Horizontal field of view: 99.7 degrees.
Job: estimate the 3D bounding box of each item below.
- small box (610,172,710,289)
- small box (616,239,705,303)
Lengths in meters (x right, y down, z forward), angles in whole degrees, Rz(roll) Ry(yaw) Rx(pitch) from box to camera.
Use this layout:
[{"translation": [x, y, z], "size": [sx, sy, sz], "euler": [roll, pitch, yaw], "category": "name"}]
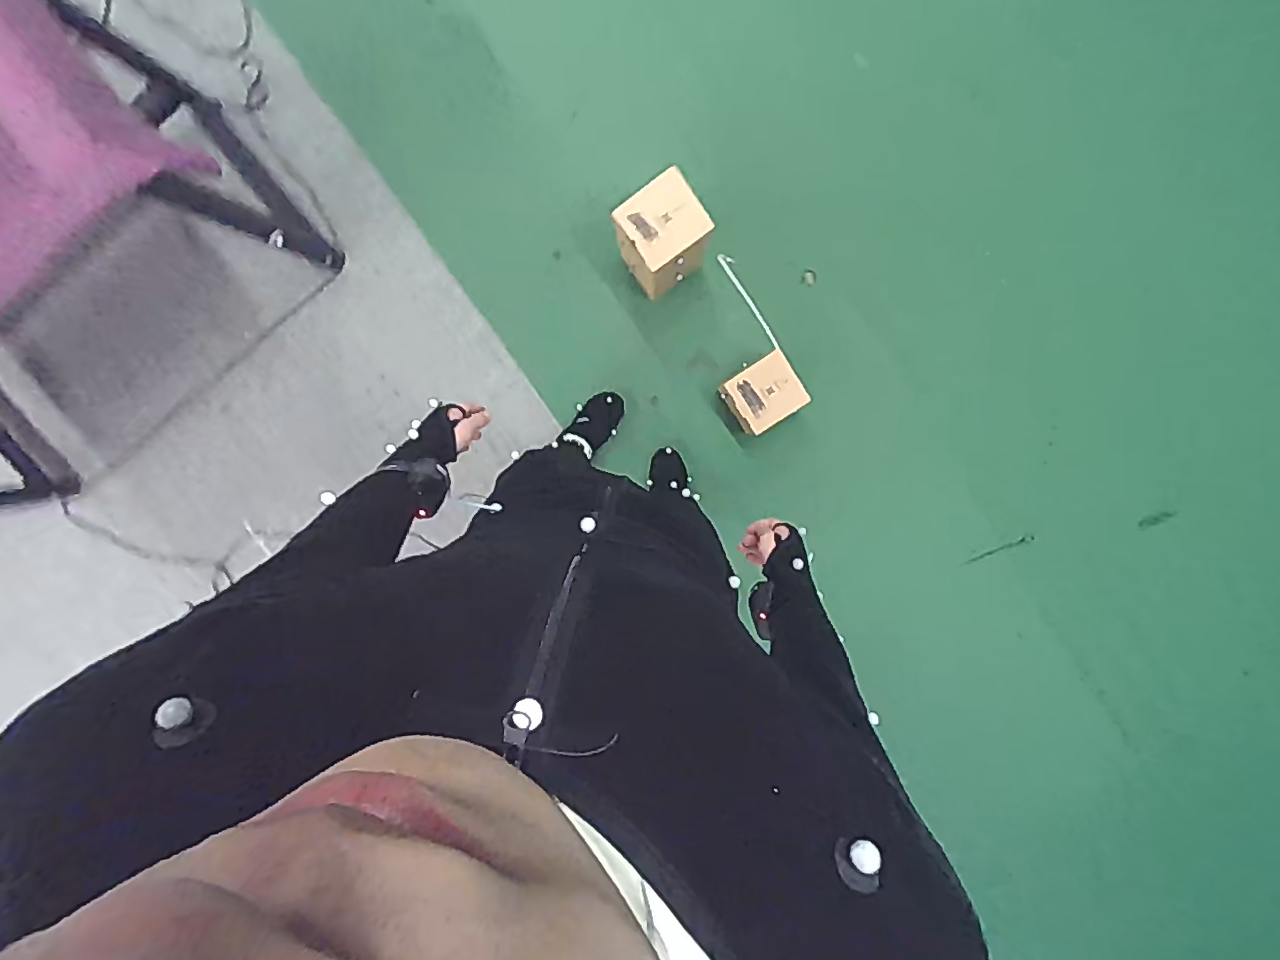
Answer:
[{"translation": [0.049, -0.588, 1.302], "size": [0.179, 0.176, 0.168], "euler": [-35, 96, 5], "category": "small box"}, {"translation": [0.052, -0.608, 1.465], "size": [0.179, 0.176, 0.168], "euler": [-35, 95, 5], "category": "small box"}]
